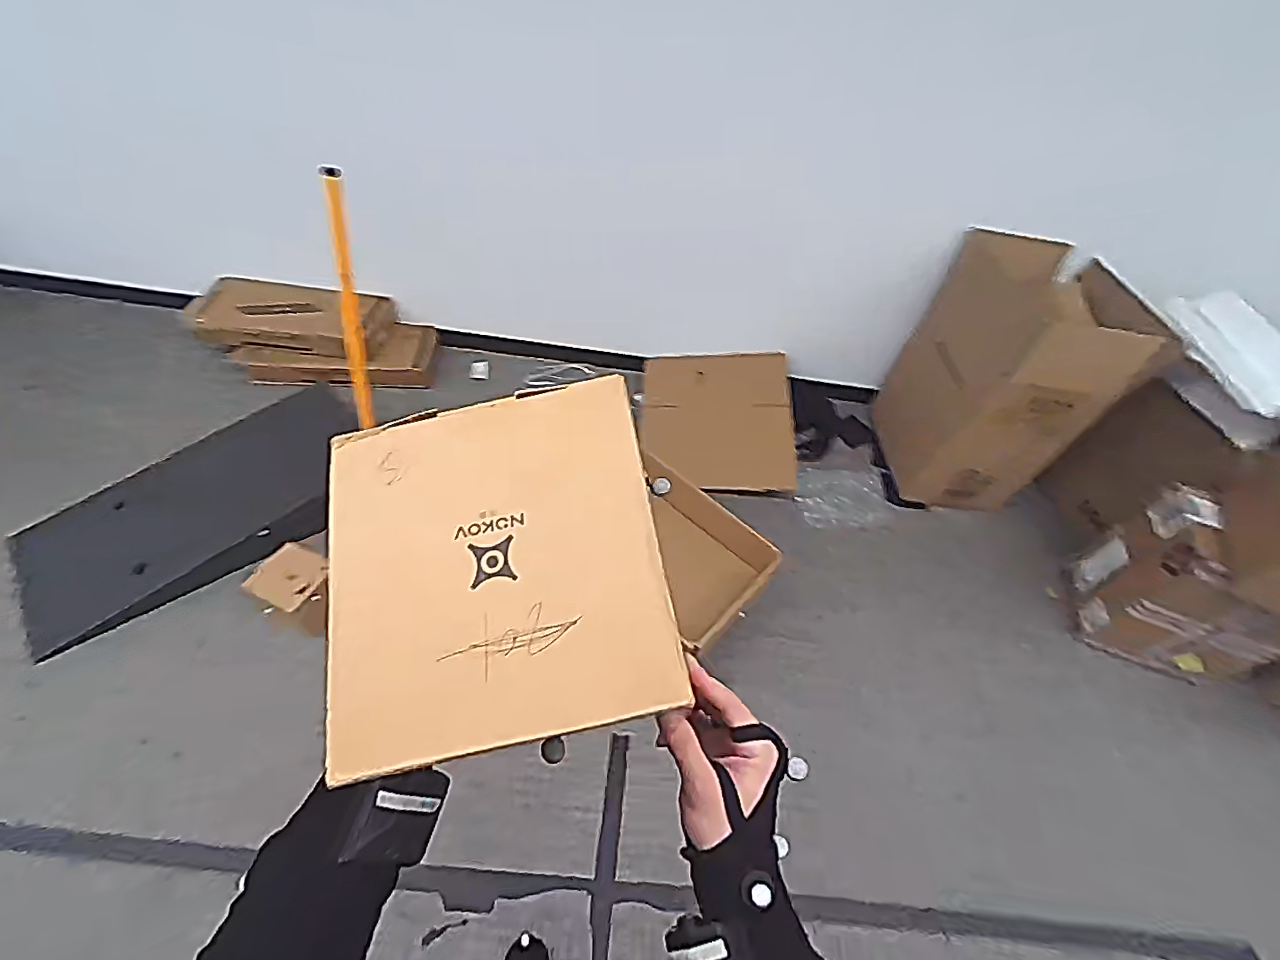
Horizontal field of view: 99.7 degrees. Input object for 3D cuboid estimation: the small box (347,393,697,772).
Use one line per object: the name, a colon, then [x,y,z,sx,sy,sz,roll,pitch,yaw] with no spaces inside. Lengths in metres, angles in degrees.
small box: [-0.063,0.071,0.353,0.168,0.176,0.179,-11,69,0]
